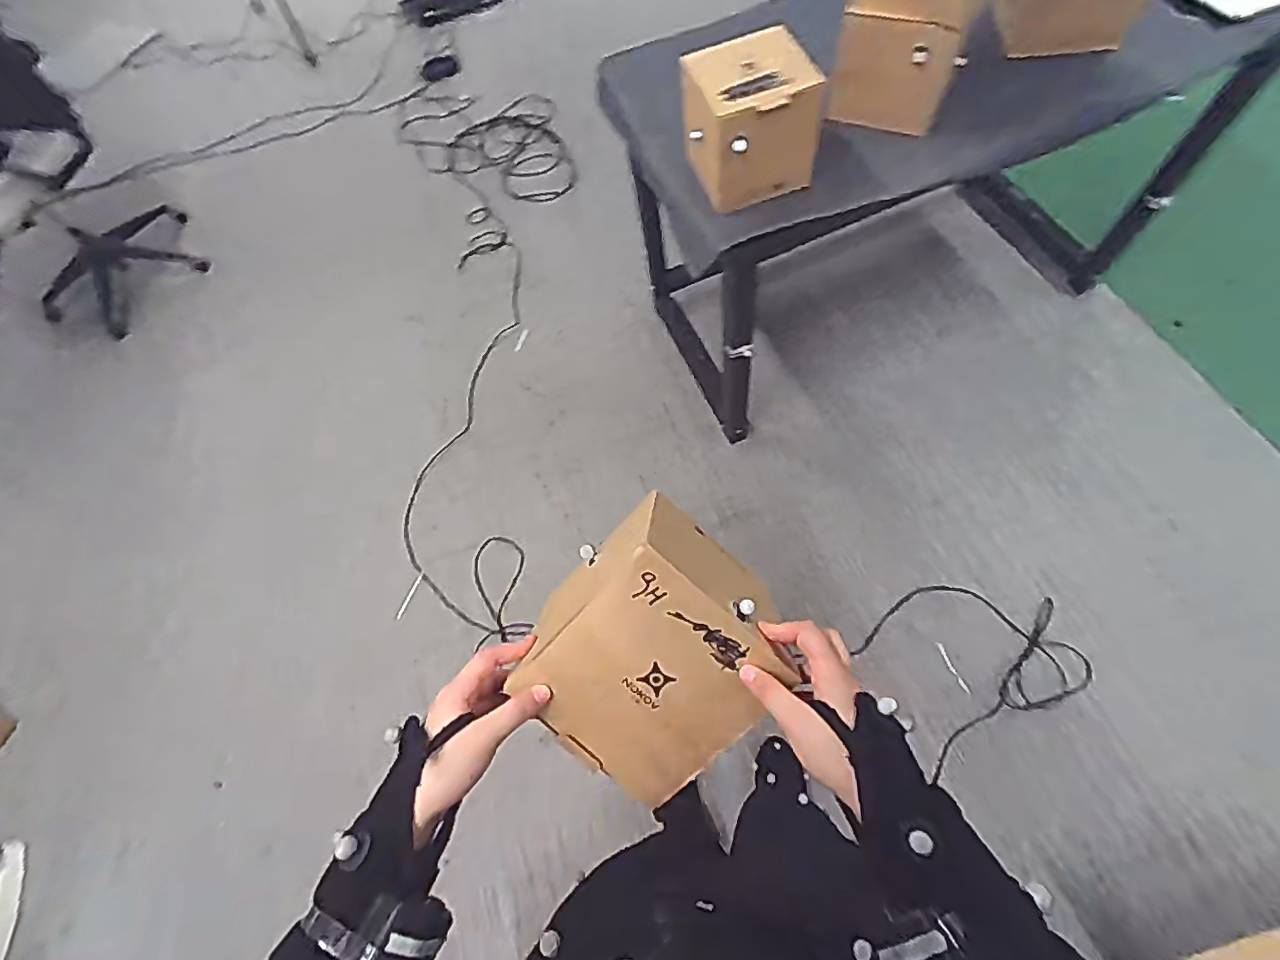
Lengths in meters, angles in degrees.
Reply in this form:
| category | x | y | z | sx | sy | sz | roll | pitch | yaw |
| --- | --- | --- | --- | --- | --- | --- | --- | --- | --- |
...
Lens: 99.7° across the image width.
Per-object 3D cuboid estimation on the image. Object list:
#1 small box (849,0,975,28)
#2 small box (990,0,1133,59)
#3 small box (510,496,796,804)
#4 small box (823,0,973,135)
| category | x | y | z | sx | sy | sz | roll | pitch | yaw |
| --- | --- | --- | --- | --- | --- | --- | --- | --- | --- |
| small box | 0.429 | -0.790 | 0.766 | 0.179 | 0.176 | 0.168 | 35 | 75 | 21 |
| small box | 0.744 | -0.871 | 0.933 | 0.179 | 0.176 | 0.168 | 3 | 67 | 11 |
| small box | 0.015 | 0.143 | 0.507 | 0.168 | 0.176 | 0.179 | 42 | 104 | -6 |
| small box | 0.433 | -0.725 | 0.916 | 0.179 | 0.176 | 0.168 | 23 | 71 | 17 |
